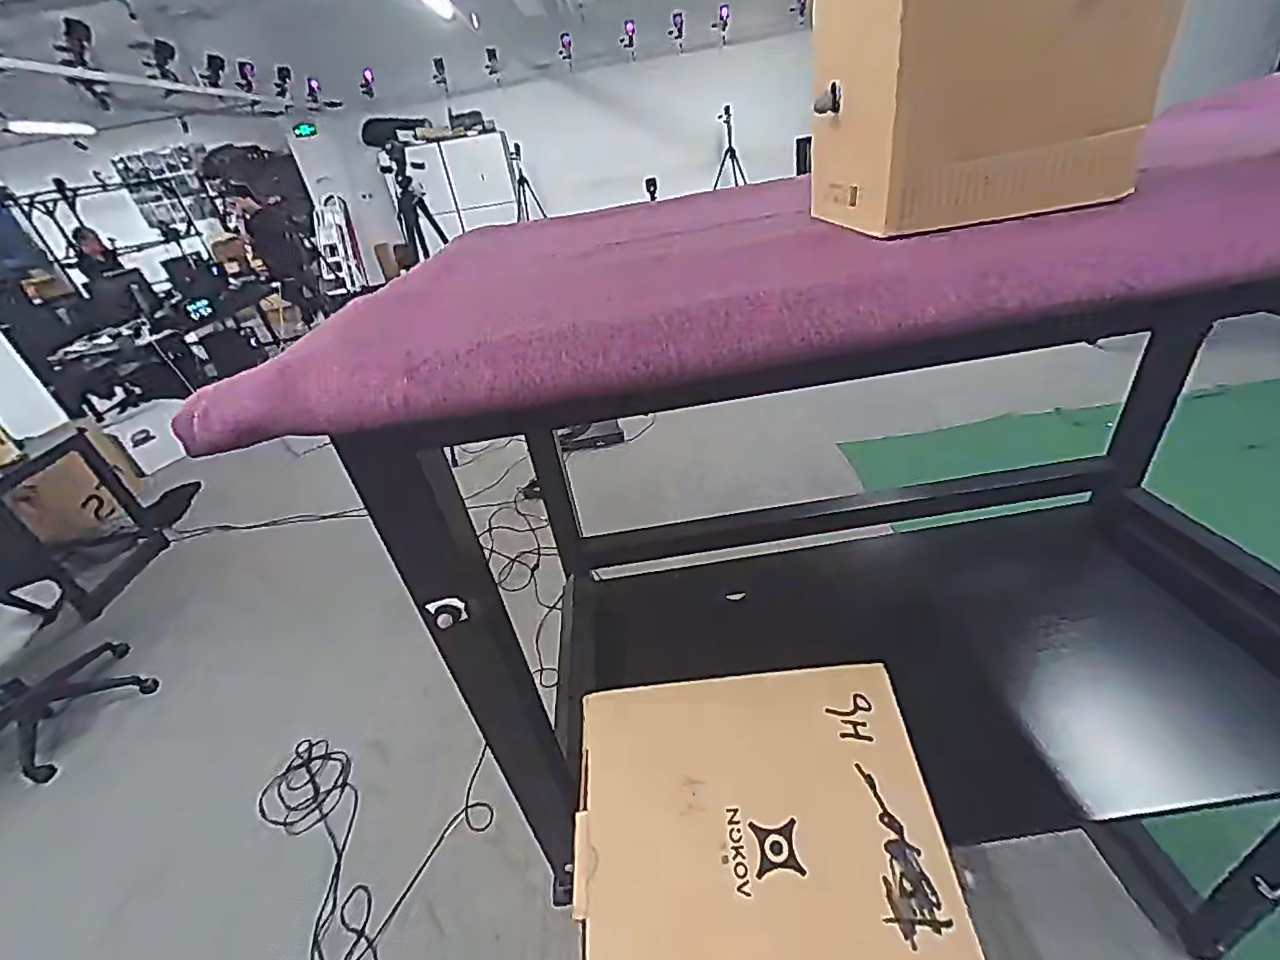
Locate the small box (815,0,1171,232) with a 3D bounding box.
[{"bbox_3d":[0.241,-0.292,0.402,0.179,0.176,0.168,-8,32,2],"label":"small box"}]

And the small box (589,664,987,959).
[{"bbox_3d":[0.073,0.228,0.328,0.179,0.176,0.168,-8,52,5],"label":"small box"}]
